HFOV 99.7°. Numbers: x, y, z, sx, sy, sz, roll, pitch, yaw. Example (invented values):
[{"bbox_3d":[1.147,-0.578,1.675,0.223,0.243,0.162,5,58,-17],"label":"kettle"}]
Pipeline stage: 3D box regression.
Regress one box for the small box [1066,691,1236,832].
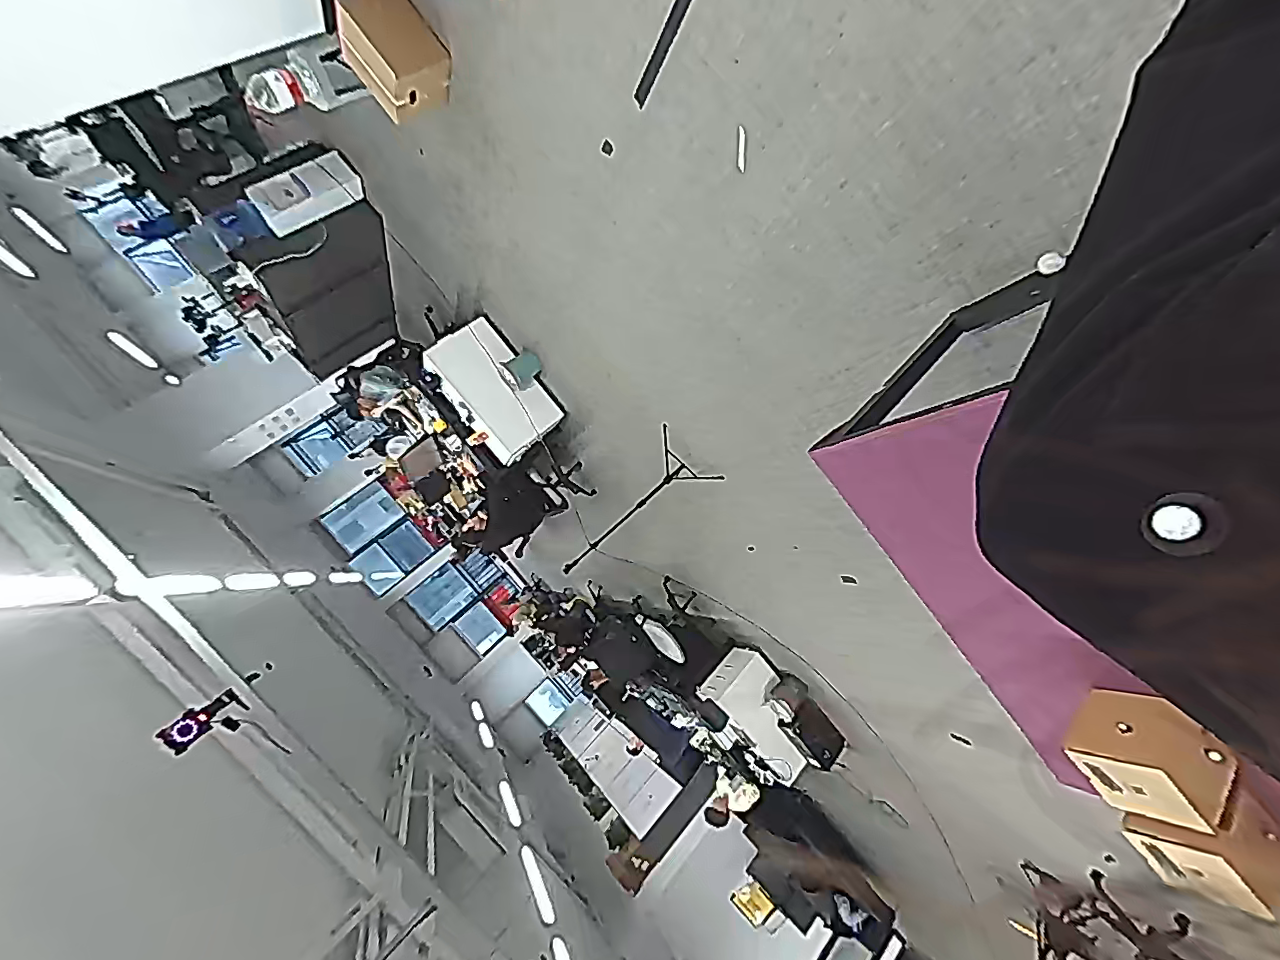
[{"bbox_3d":[1.032,0.554,1.095,0.168,0.176,0.179,49,157,-3],"label":"small box"}]
